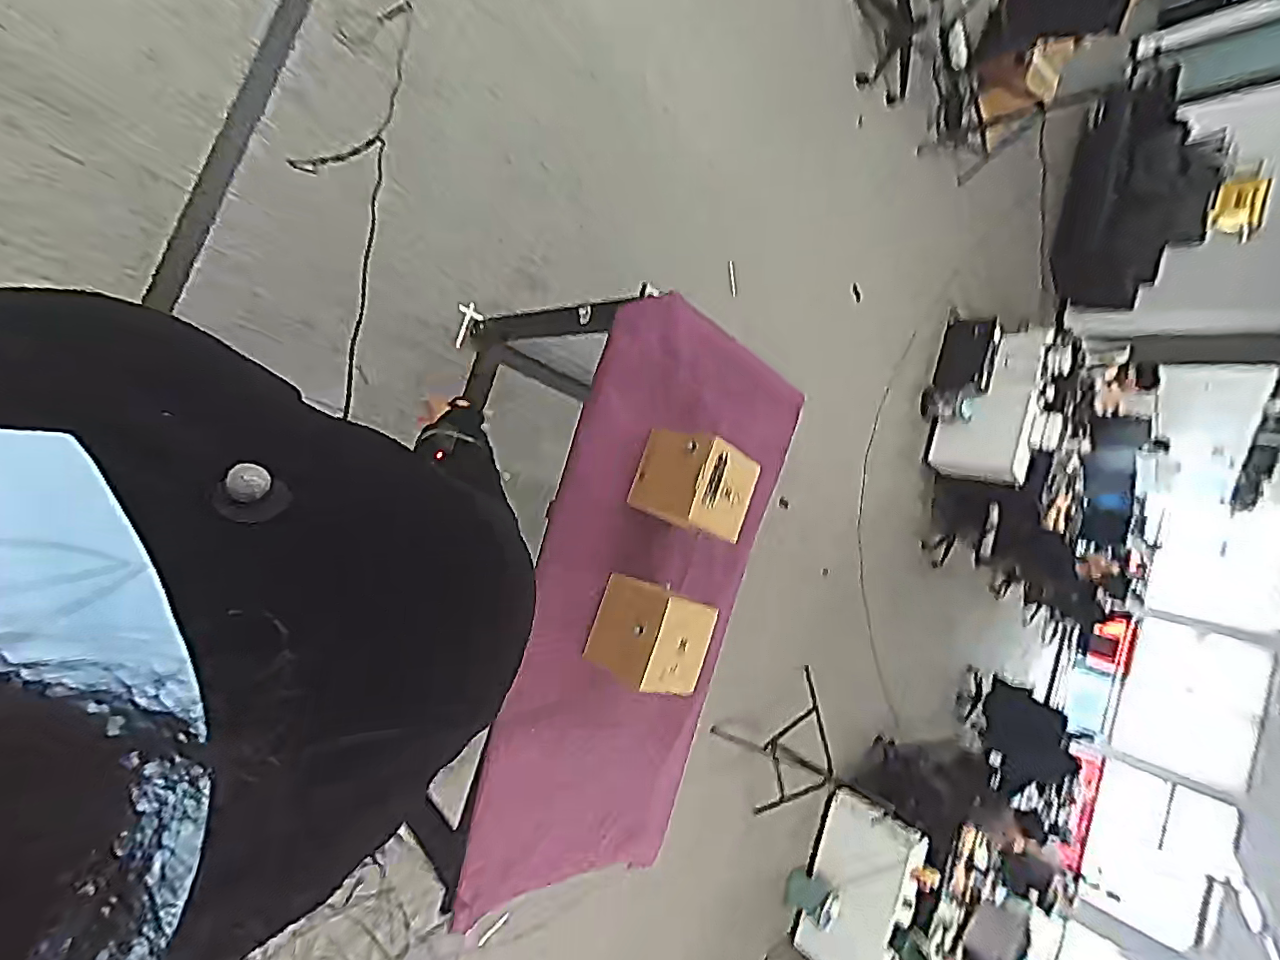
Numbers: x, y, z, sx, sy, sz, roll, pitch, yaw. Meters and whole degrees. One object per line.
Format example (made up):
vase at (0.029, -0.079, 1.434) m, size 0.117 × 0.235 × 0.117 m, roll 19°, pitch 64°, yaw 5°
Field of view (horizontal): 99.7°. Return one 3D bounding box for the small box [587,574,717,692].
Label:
small box at (0.020, 0.302, 1.083) m, size 0.168 × 0.176 × 0.179 m, roll 26°, pitch 81°, yaw -44°
